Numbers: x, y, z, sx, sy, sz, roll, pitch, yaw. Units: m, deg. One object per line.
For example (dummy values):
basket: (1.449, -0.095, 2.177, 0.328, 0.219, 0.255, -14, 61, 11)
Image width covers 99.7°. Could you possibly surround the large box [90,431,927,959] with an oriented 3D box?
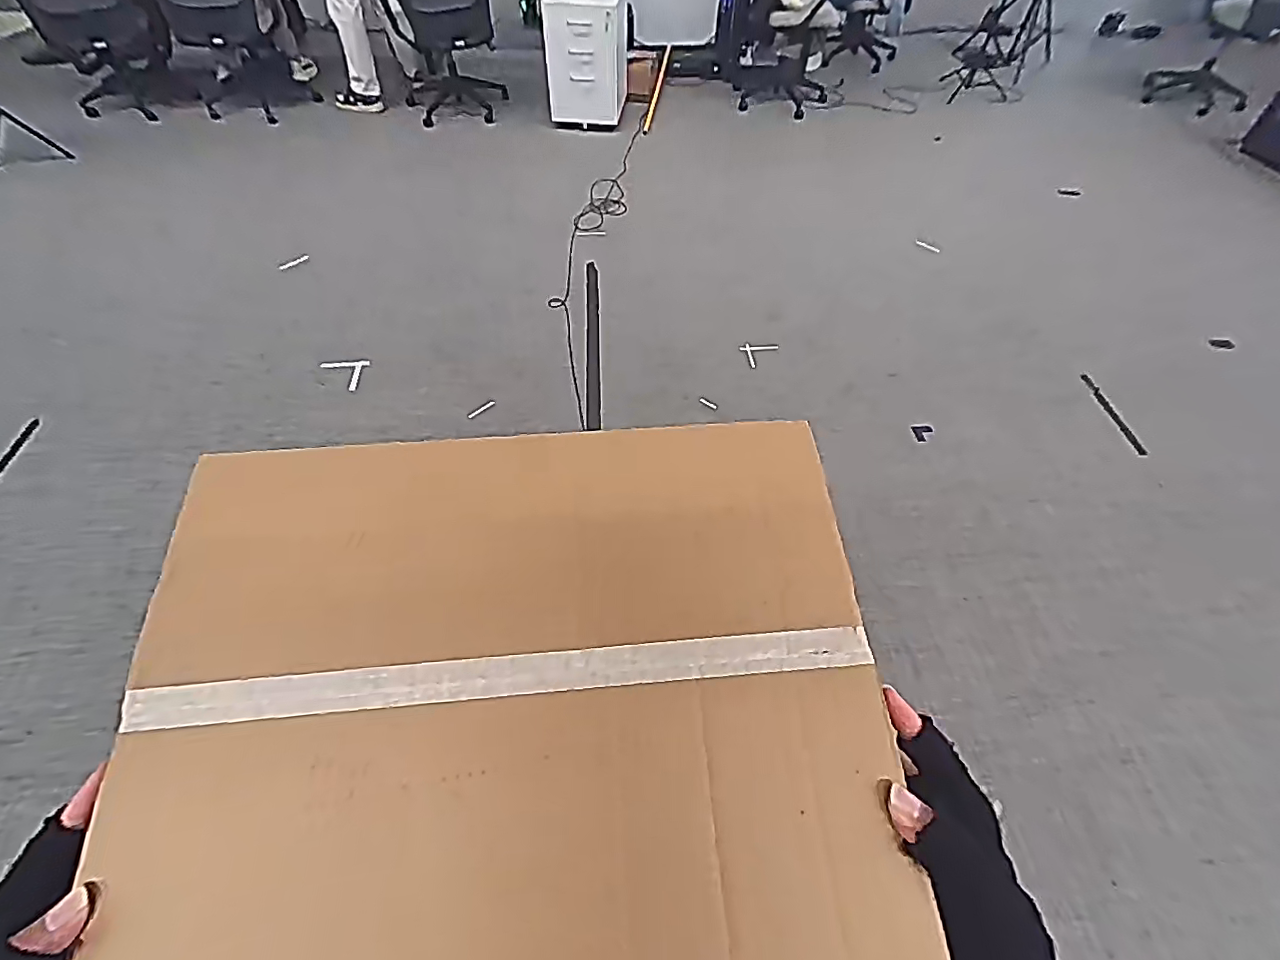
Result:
large box: (-0.075, 0.182, 0.446, 0.408, 0.320, 0.320, -4, 65, -4)
